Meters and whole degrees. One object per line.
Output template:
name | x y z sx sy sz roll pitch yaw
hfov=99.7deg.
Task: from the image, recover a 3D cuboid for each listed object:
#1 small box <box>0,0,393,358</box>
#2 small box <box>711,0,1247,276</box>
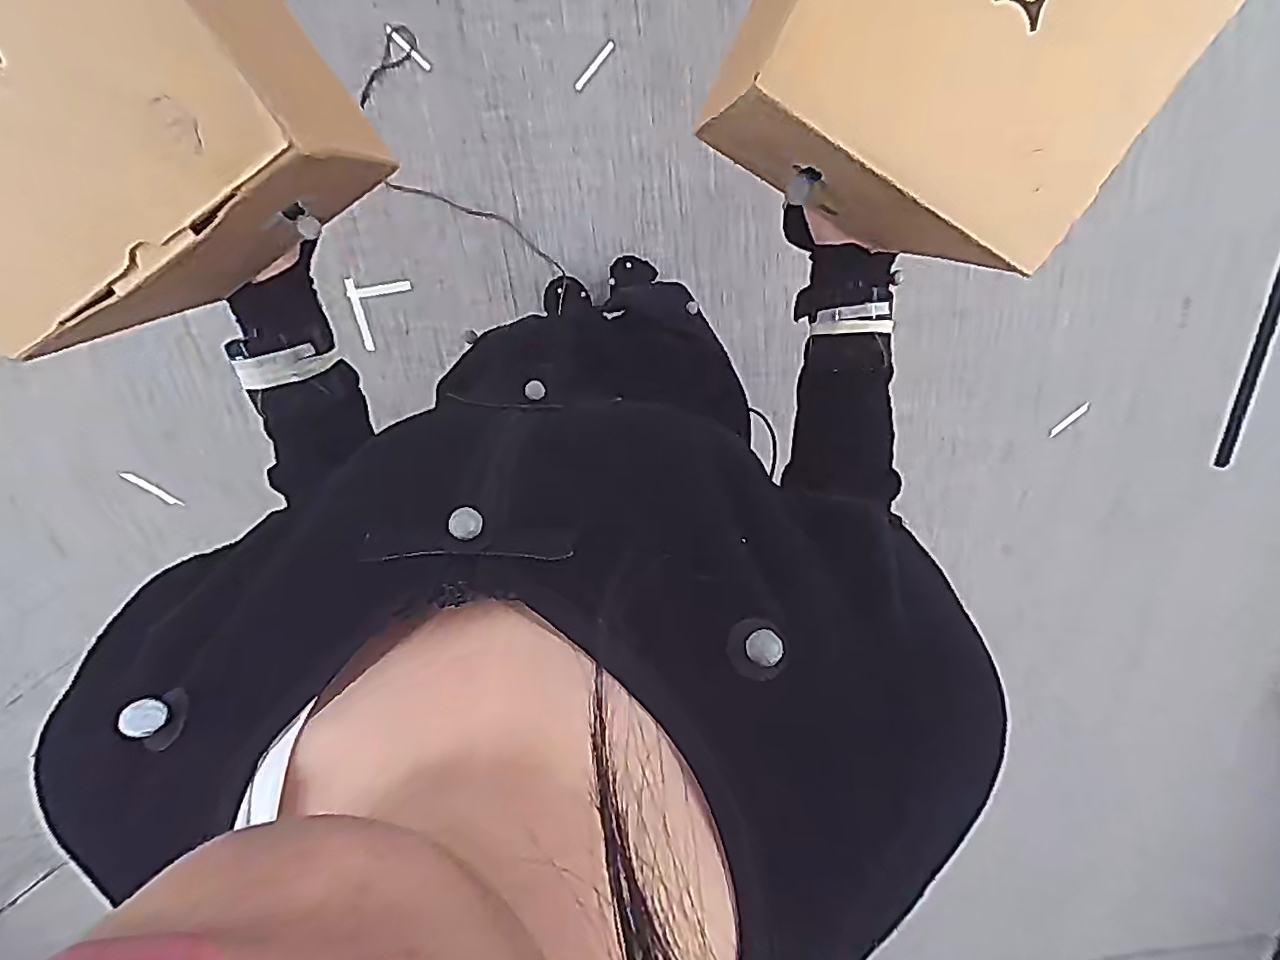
small box | -0.254 -0.192 0.259 0.168 0.176 0.179 -31 117 7
small box | 0.152 -0.234 0.285 0.168 0.176 0.179 24 111 -15
